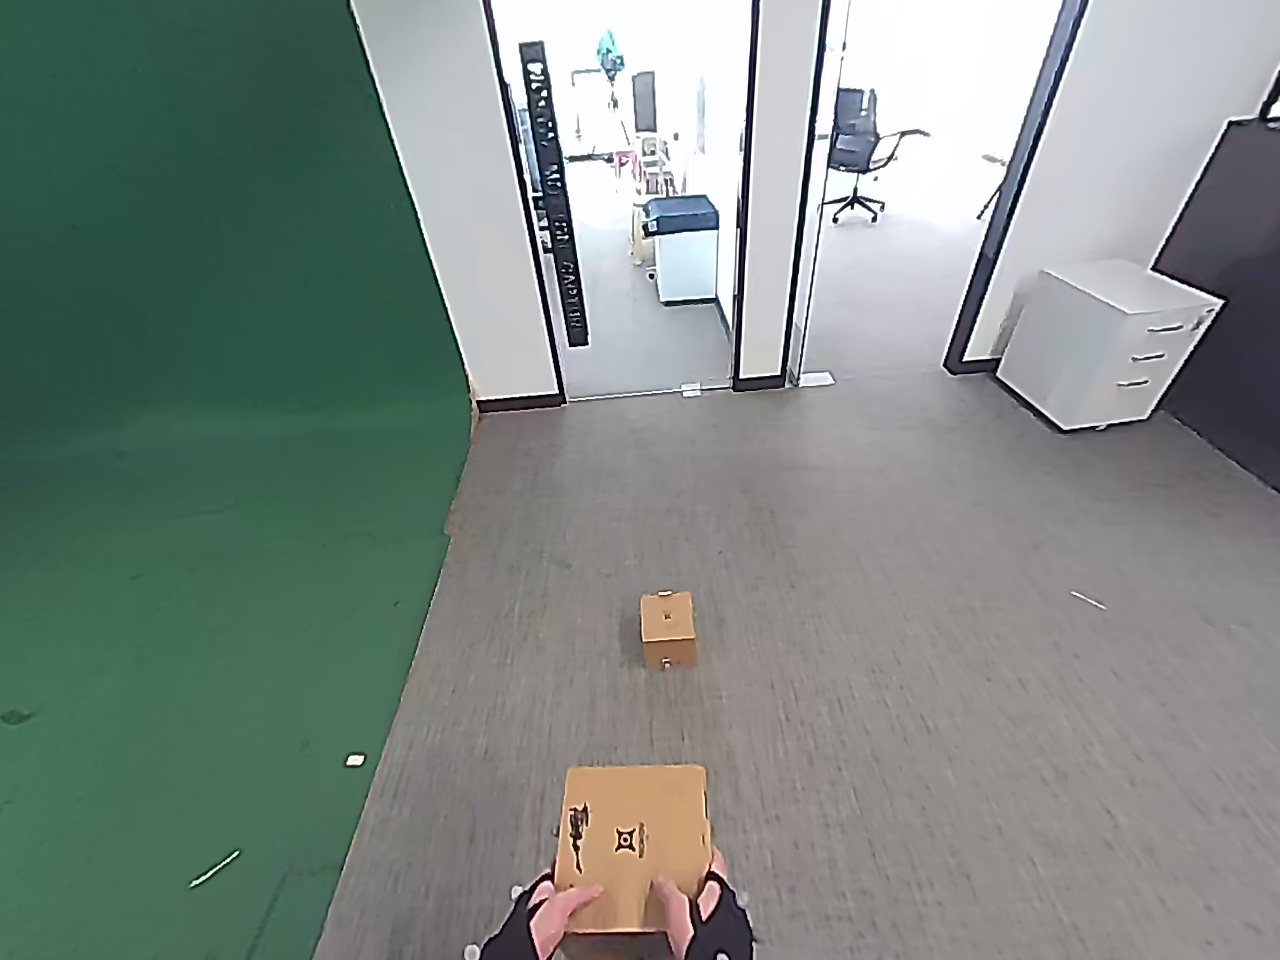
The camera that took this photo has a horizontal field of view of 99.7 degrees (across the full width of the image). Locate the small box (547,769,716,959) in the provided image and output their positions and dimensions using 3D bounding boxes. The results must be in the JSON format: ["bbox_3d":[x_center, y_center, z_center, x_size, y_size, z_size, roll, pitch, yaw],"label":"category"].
[{"bbox_3d":[-0.003,0.478,0.665,0.179,0.176,0.168,-2,38,4],"label":"small box"}]

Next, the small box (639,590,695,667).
[{"bbox_3d":[0.088,0.478,1.738,0.168,0.176,0.179,-4,41,4],"label":"small box"}]
